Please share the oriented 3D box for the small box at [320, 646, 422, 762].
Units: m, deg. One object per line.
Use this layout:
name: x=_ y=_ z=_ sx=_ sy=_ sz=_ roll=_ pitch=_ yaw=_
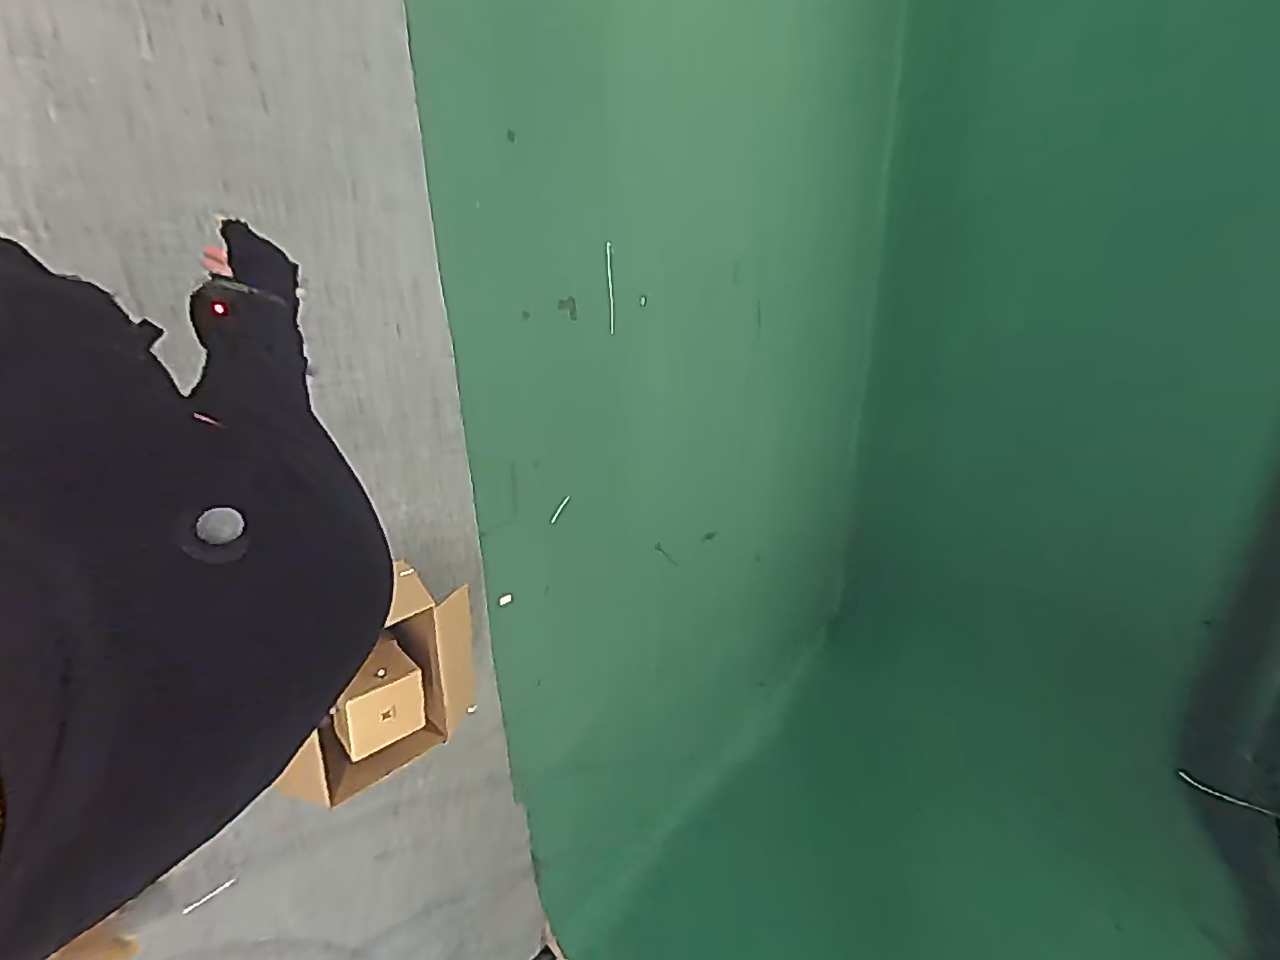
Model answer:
small box: x=-0.661 y=0.537 z=1.324 sx=0.179 sy=0.176 sz=0.168 roll=-15 pitch=113 yaw=-45
